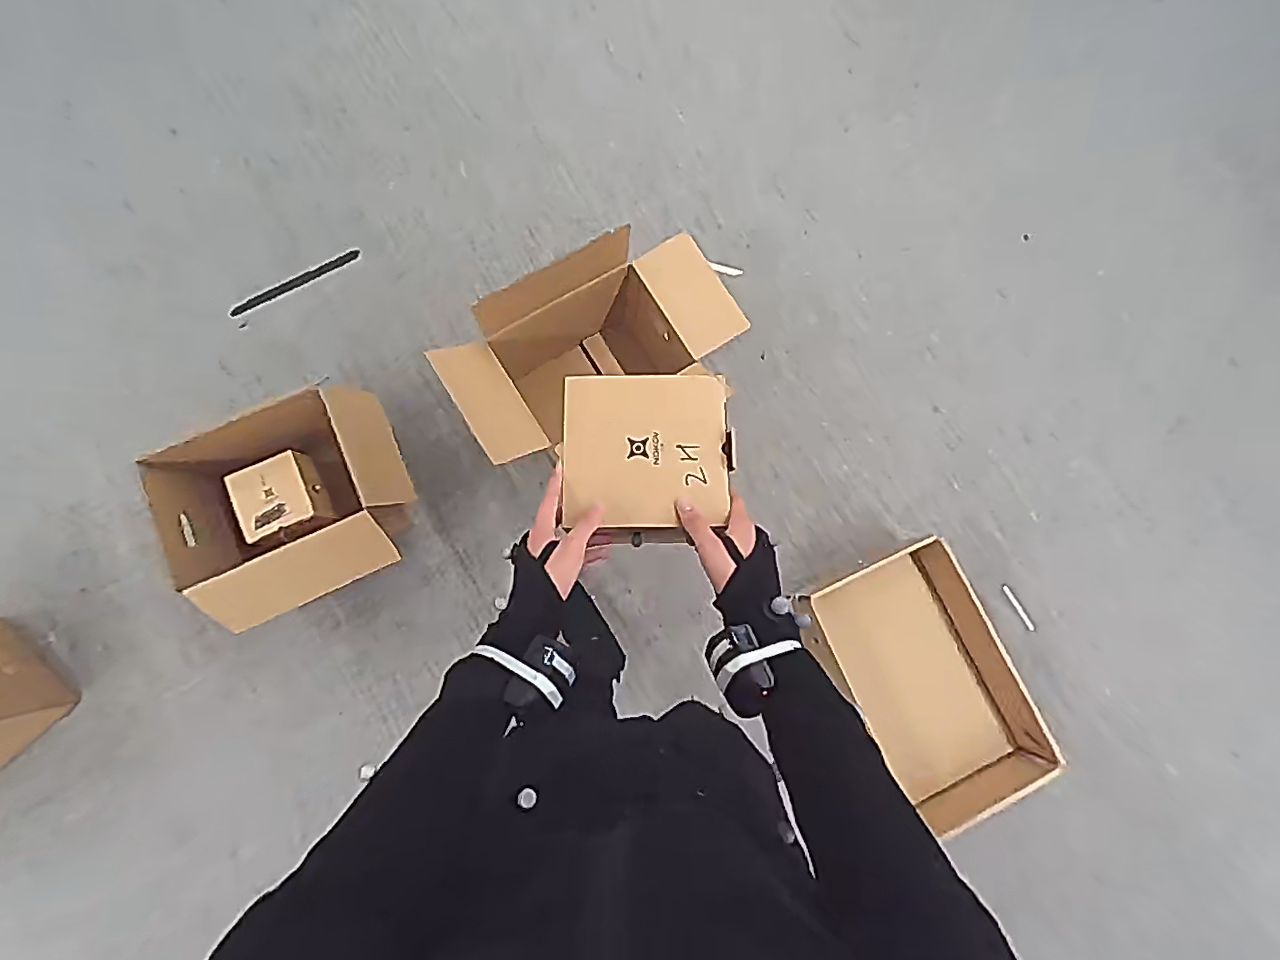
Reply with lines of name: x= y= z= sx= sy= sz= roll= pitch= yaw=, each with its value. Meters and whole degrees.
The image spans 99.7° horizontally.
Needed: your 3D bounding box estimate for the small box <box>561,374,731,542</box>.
small box: x=0.007 y=-0.016 z=0.642 sx=0.179 sy=0.176 sz=0.168 roll=0 pitch=78 yaw=0
